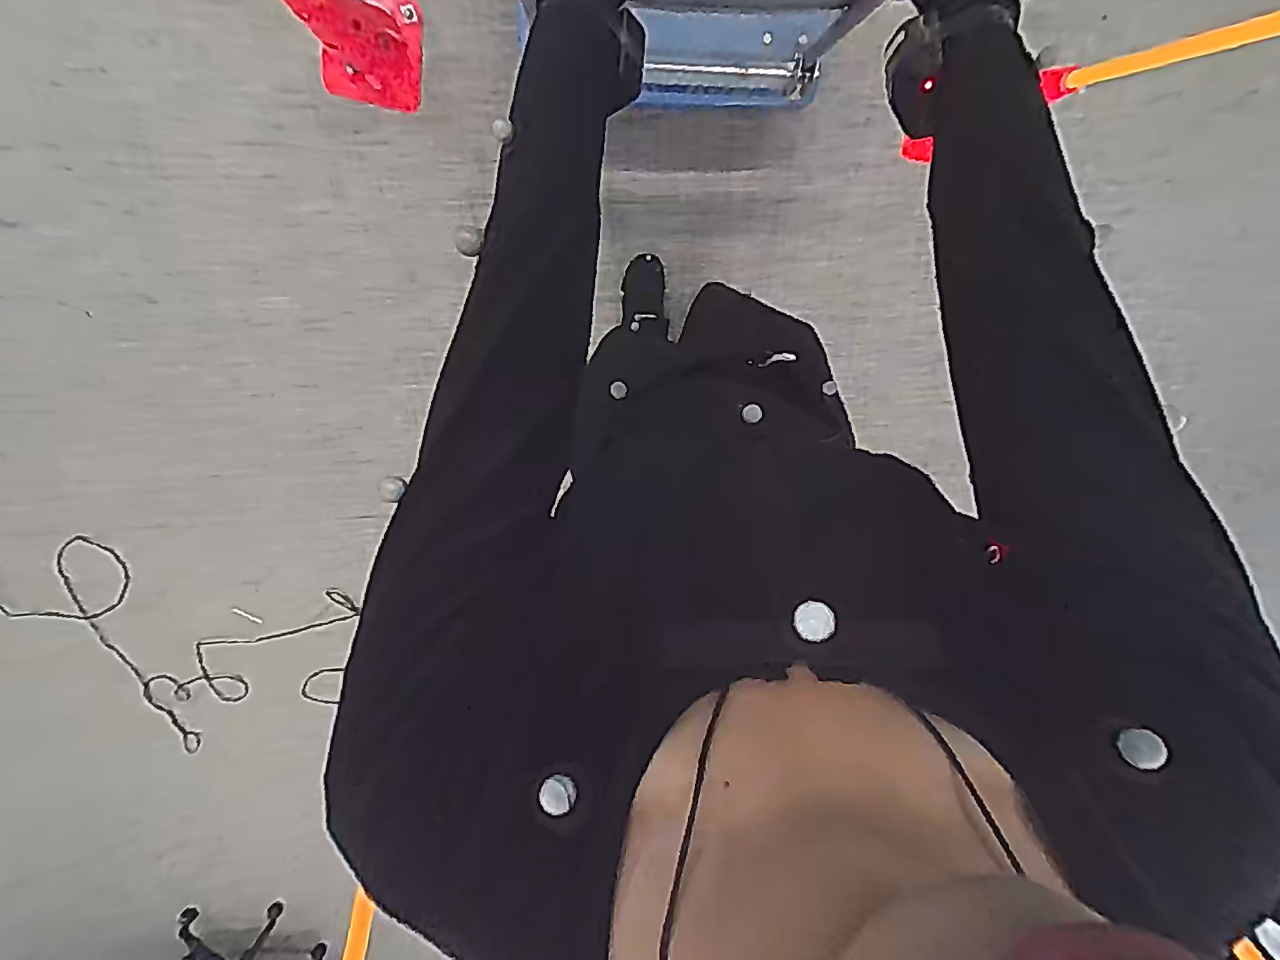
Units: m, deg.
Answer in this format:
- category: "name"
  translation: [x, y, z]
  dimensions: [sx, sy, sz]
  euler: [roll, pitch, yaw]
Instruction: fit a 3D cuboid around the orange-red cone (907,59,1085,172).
- category: "orange-red cone"
  translation: [0.738, -0.758, 1.085]
  dimensions: [0.198, 0.360, 0.199]
  euler: [8, 115, -6]
